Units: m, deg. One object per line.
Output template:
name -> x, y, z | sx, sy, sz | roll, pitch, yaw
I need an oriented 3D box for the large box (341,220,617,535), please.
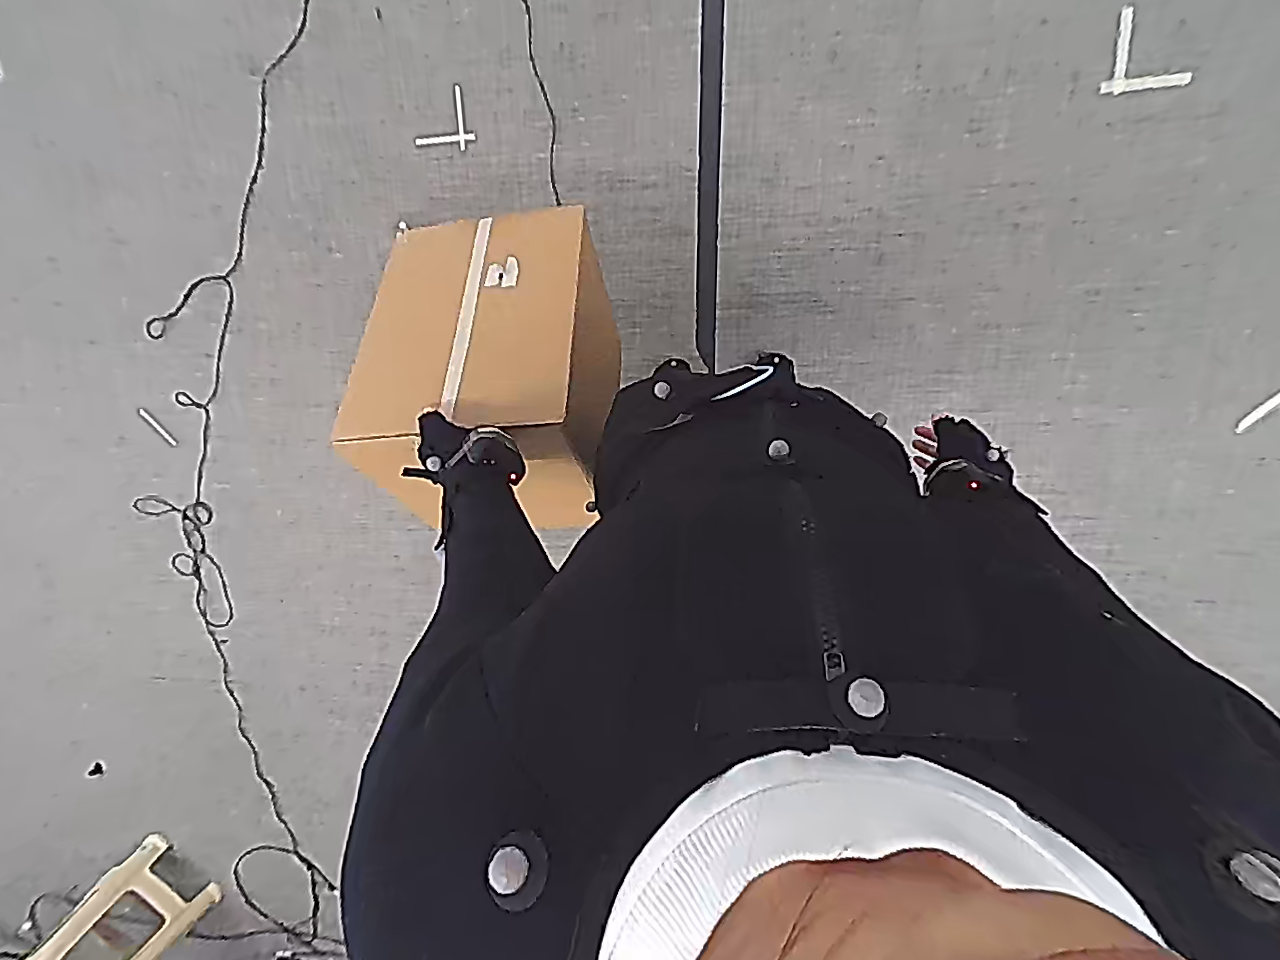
large box -> -0.221, -0.155, 0.909 | 0.320, 0.320, 0.408 | -4, 61, 8
